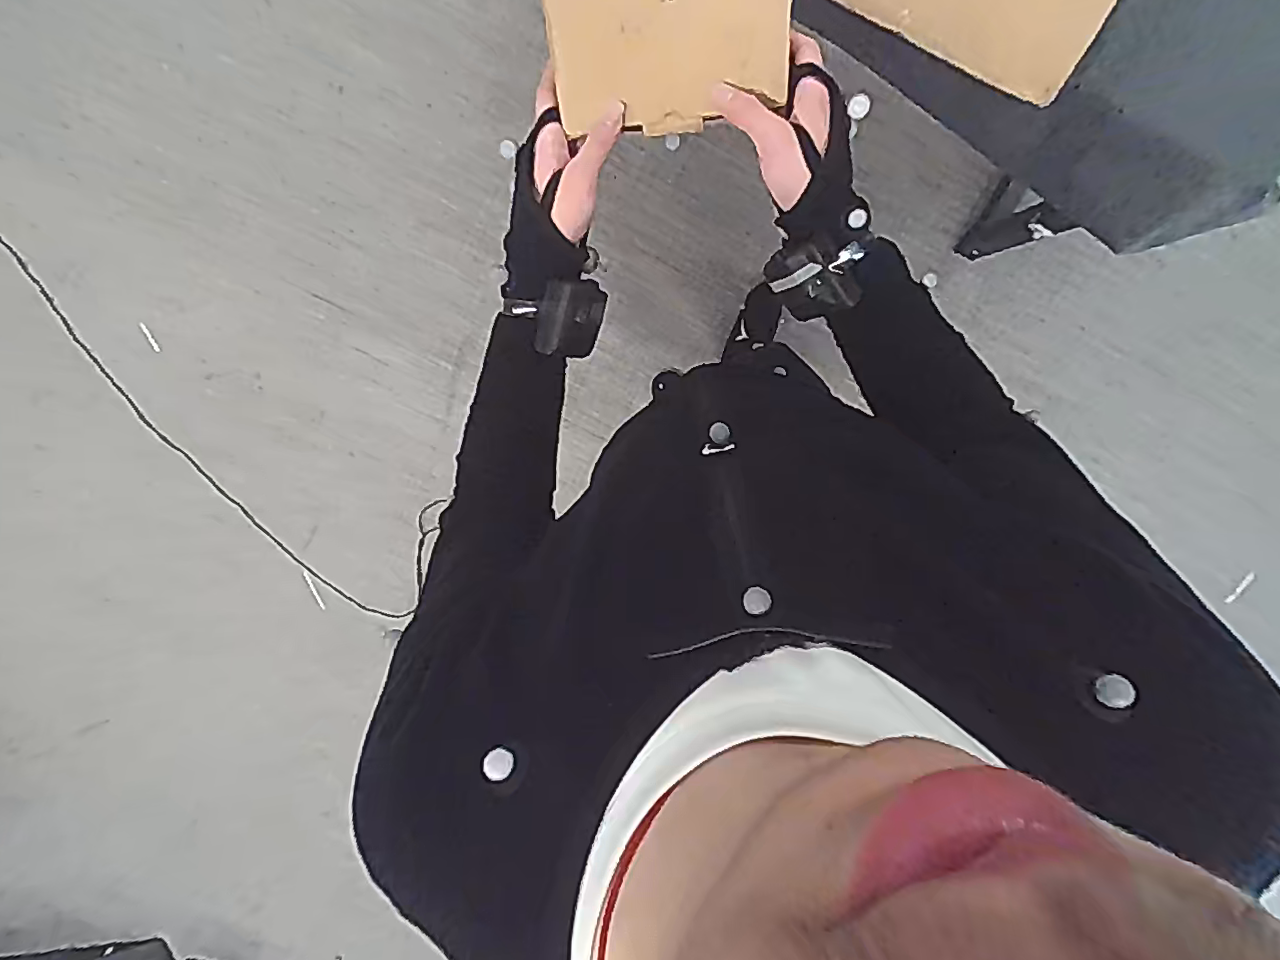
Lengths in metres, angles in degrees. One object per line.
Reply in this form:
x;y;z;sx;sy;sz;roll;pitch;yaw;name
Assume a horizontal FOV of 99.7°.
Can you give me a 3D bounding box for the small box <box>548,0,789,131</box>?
0.021;-0.388;0.421;0.168;0.176;0.179;-5;122;8;small box
